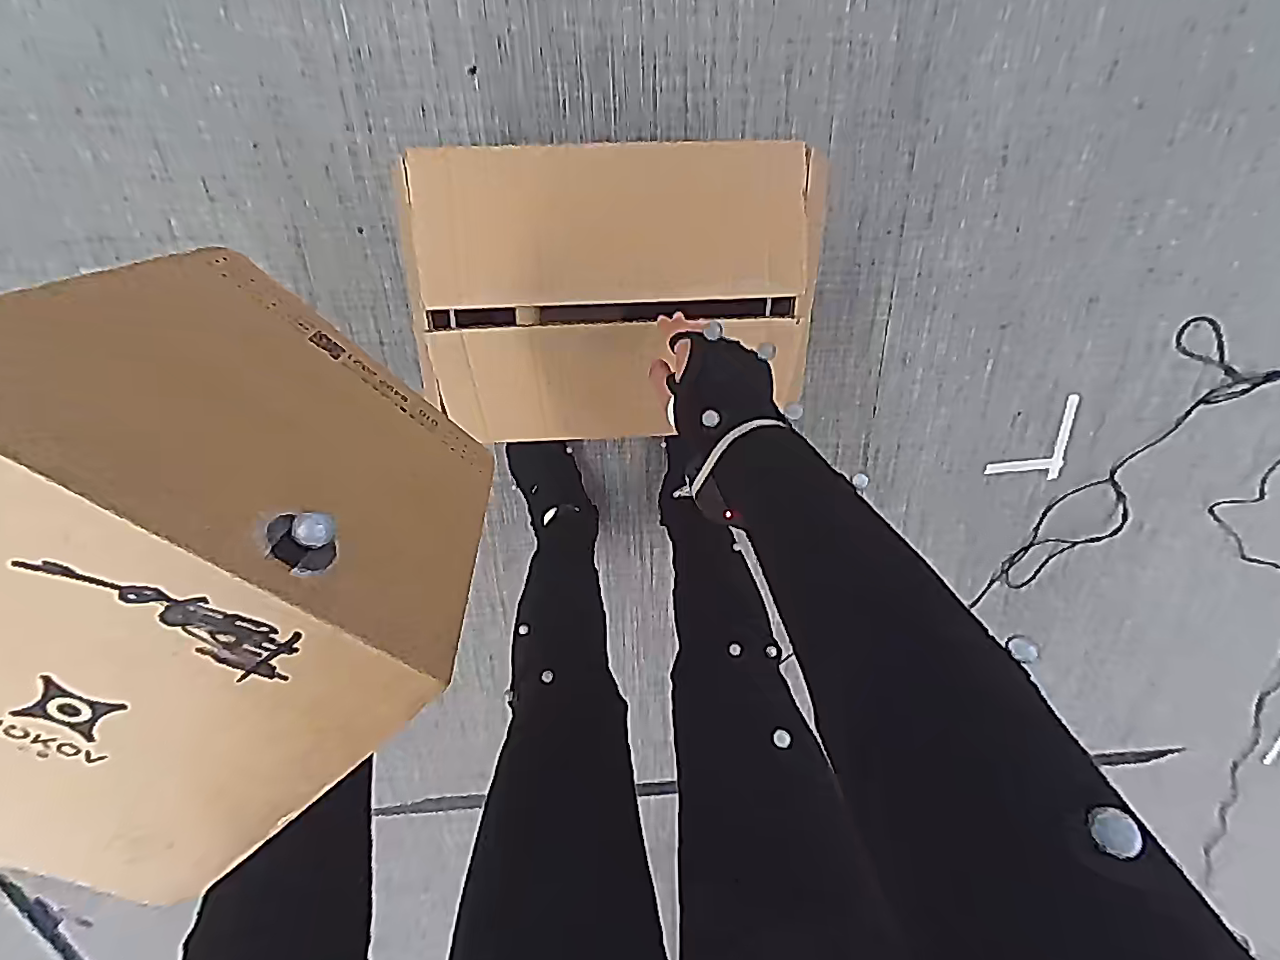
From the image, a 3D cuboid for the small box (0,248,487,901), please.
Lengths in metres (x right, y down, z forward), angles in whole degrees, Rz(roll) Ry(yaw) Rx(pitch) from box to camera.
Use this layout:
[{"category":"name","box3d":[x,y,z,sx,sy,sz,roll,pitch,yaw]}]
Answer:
[{"category":"small box","box3d":[-0.187,0.031,0.233,0.179,0.176,0.168,-39,118,15]}]
